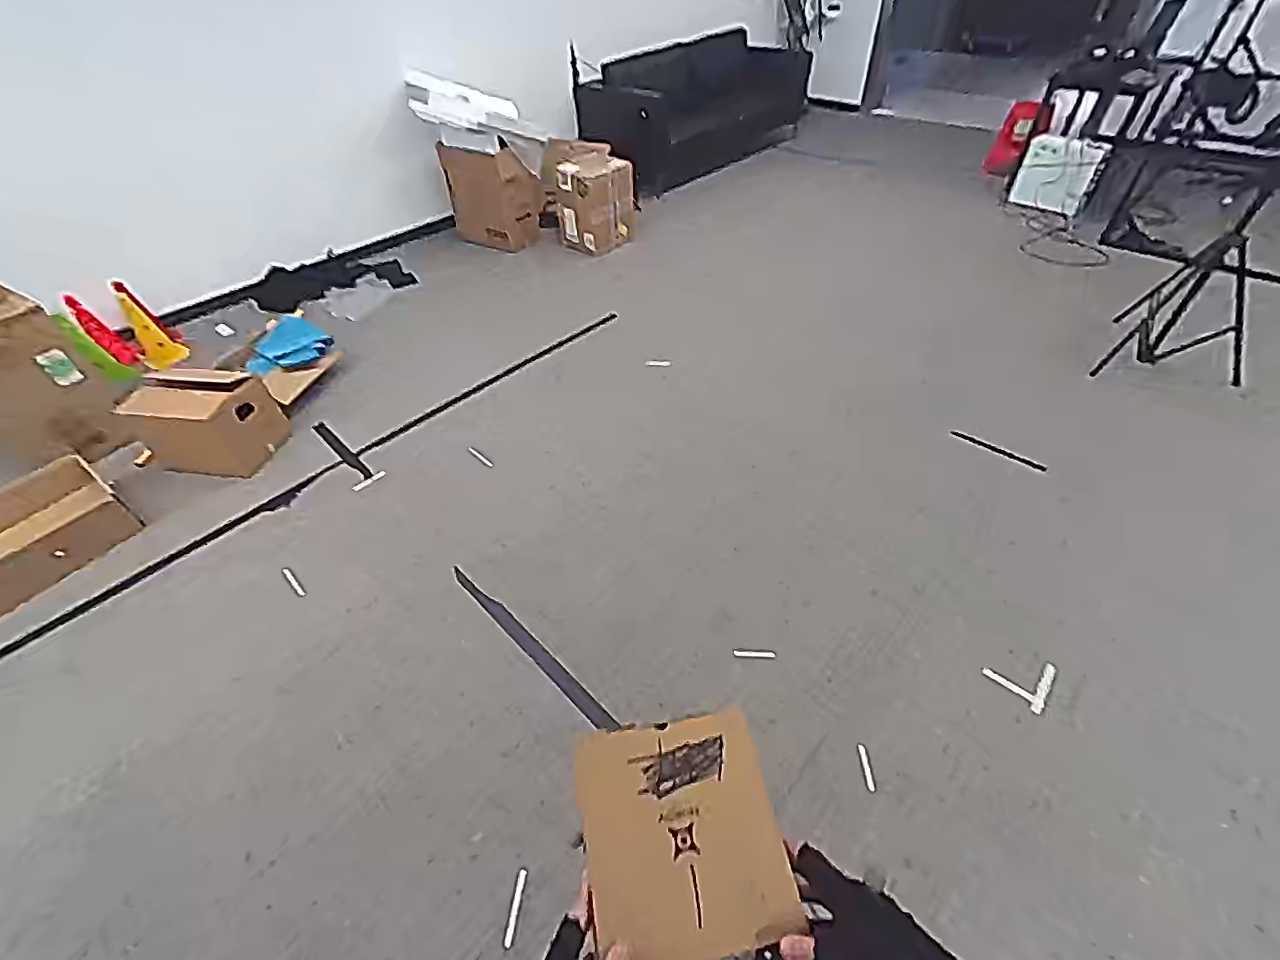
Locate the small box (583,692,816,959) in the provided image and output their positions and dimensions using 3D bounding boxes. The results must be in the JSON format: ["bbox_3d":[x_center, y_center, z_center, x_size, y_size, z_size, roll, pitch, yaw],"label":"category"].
[{"bbox_3d":[0.035,0.327,0.516,0.168,0.176,0.179,-5,53,-10],"label":"small box"}]
